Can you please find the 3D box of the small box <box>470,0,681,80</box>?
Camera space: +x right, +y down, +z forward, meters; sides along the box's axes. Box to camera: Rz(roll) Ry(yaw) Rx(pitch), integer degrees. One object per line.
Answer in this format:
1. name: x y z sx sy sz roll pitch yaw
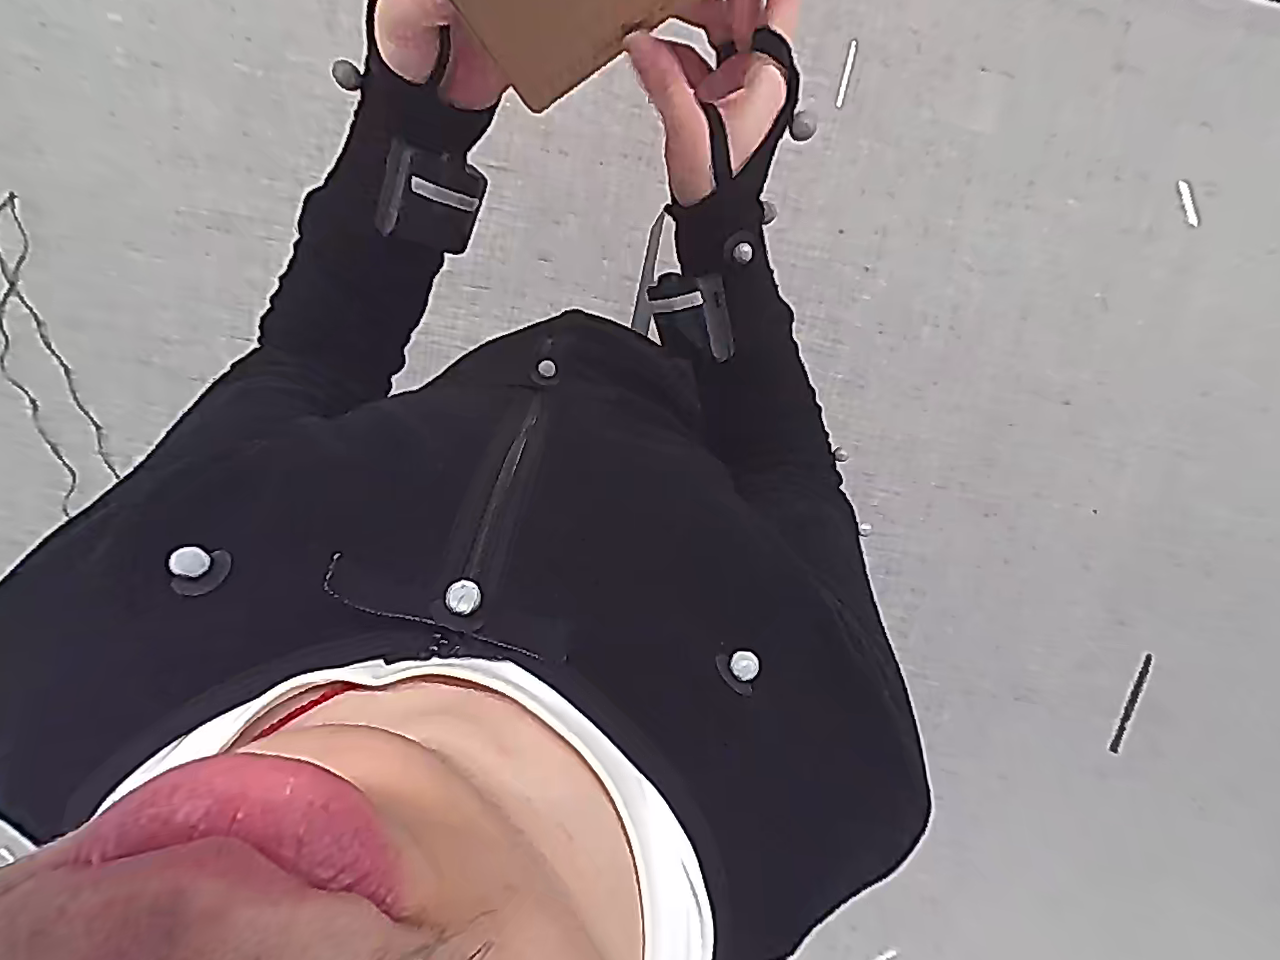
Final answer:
1. small box: -0.029 -0.288 0.194 0.168 0.176 0.179 -30 107 10
